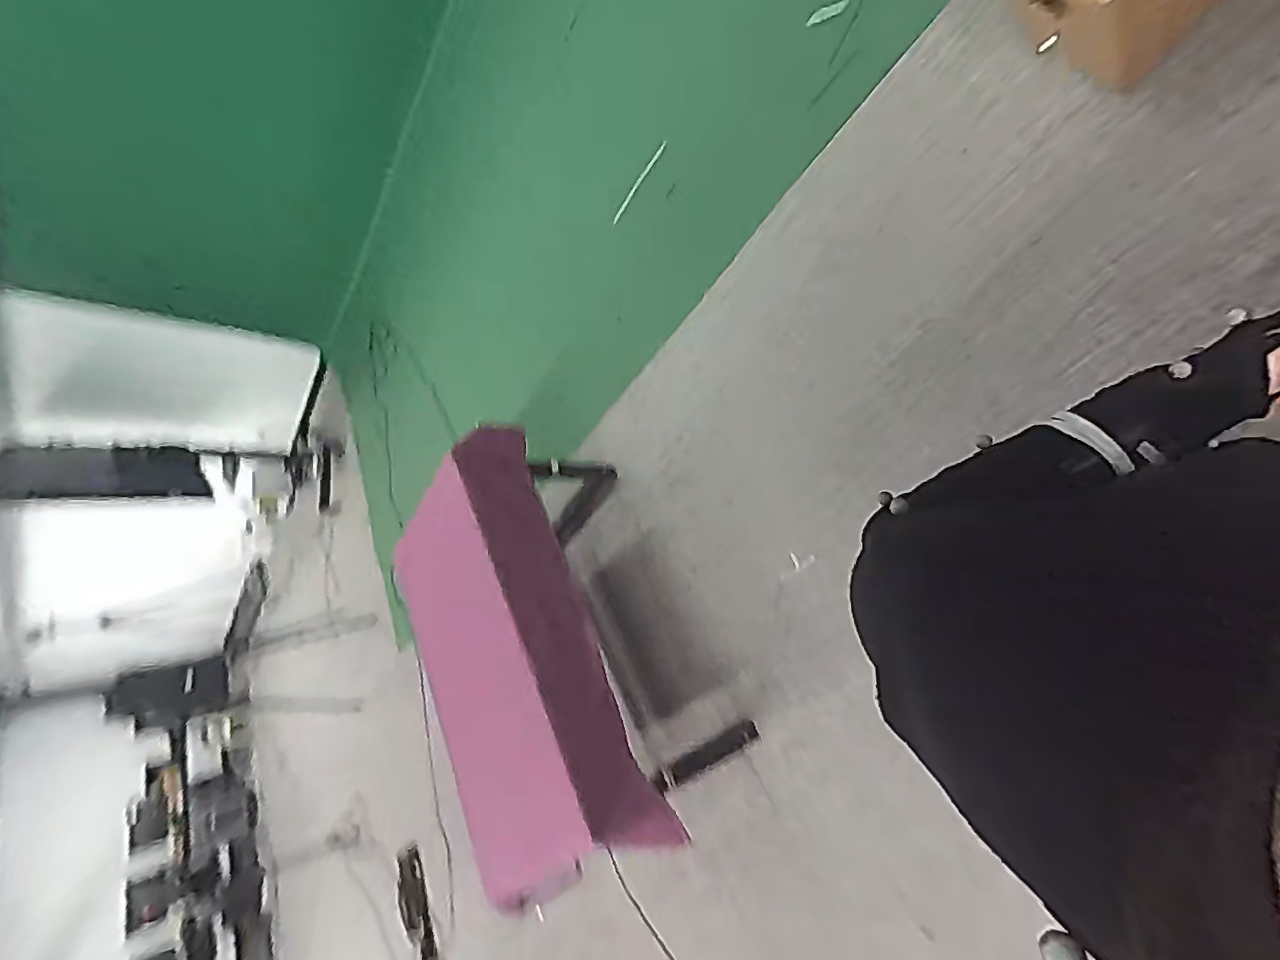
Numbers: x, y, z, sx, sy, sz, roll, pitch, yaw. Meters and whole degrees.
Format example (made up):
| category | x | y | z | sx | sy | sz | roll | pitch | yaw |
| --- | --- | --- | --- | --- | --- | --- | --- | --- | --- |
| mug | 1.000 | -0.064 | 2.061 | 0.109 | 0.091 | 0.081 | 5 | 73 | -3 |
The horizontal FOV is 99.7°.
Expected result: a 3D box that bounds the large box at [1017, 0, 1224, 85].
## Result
| category | x | y | z | sx | sy | sz | roll | pitch | yaw |
| --- | --- | --- | --- | --- | --- | --- | --- | --- | --- |
| large box | 0.999 | -1.084 | 1.018 | 0.408 | 0.320 | 0.320 | -45 | 58 | 33 |
